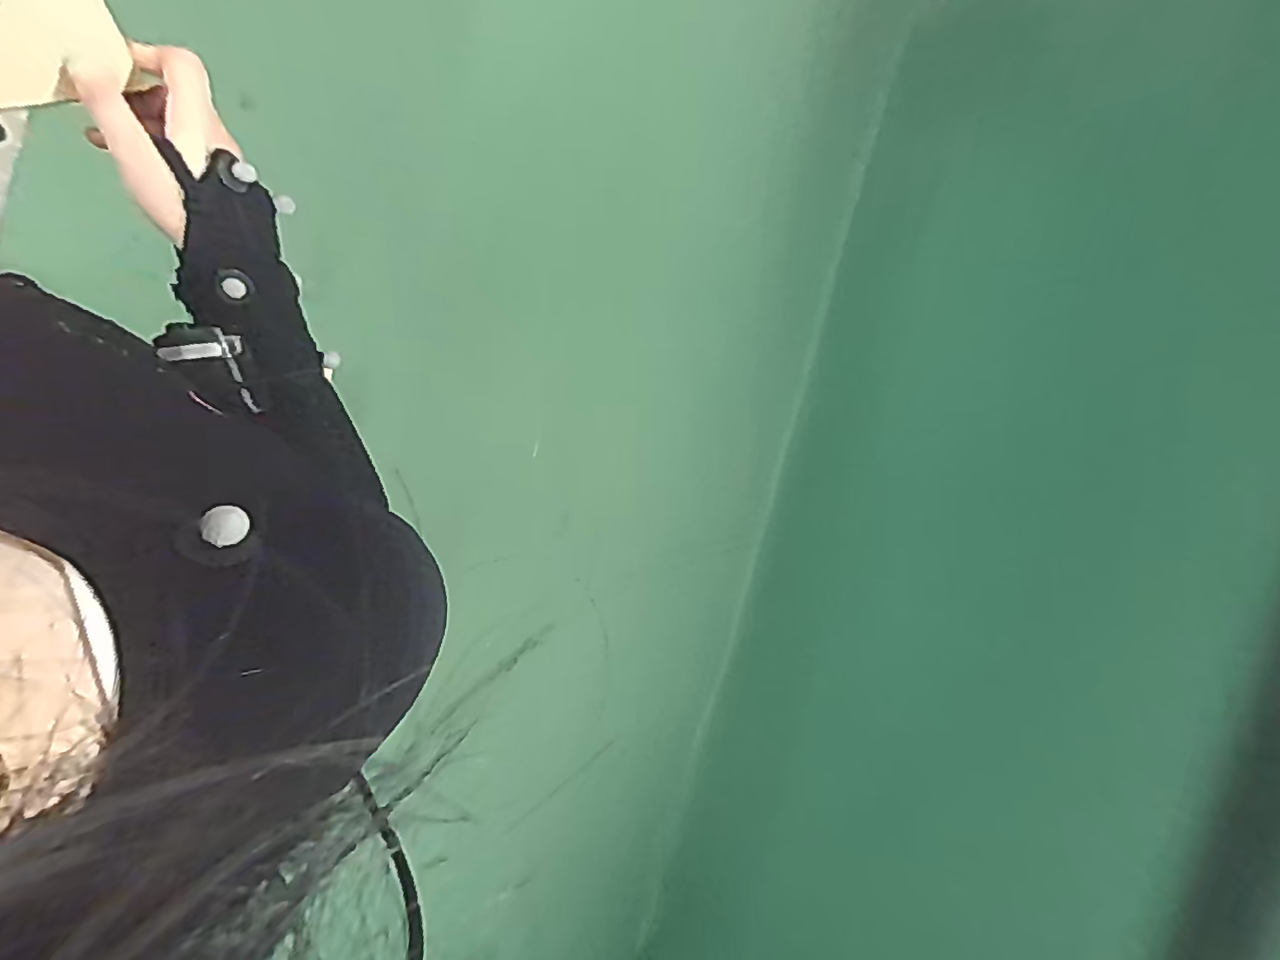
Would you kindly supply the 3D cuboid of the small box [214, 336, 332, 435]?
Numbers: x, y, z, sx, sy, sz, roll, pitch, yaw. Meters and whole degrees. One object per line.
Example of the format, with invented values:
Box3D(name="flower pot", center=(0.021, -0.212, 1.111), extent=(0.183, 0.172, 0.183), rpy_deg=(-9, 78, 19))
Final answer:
Box3D(name="small box", center=(-0.825, -0.214, 1.210), extent=(0.168, 0.176, 0.179), rpy_deg=(10, 96, -50))
